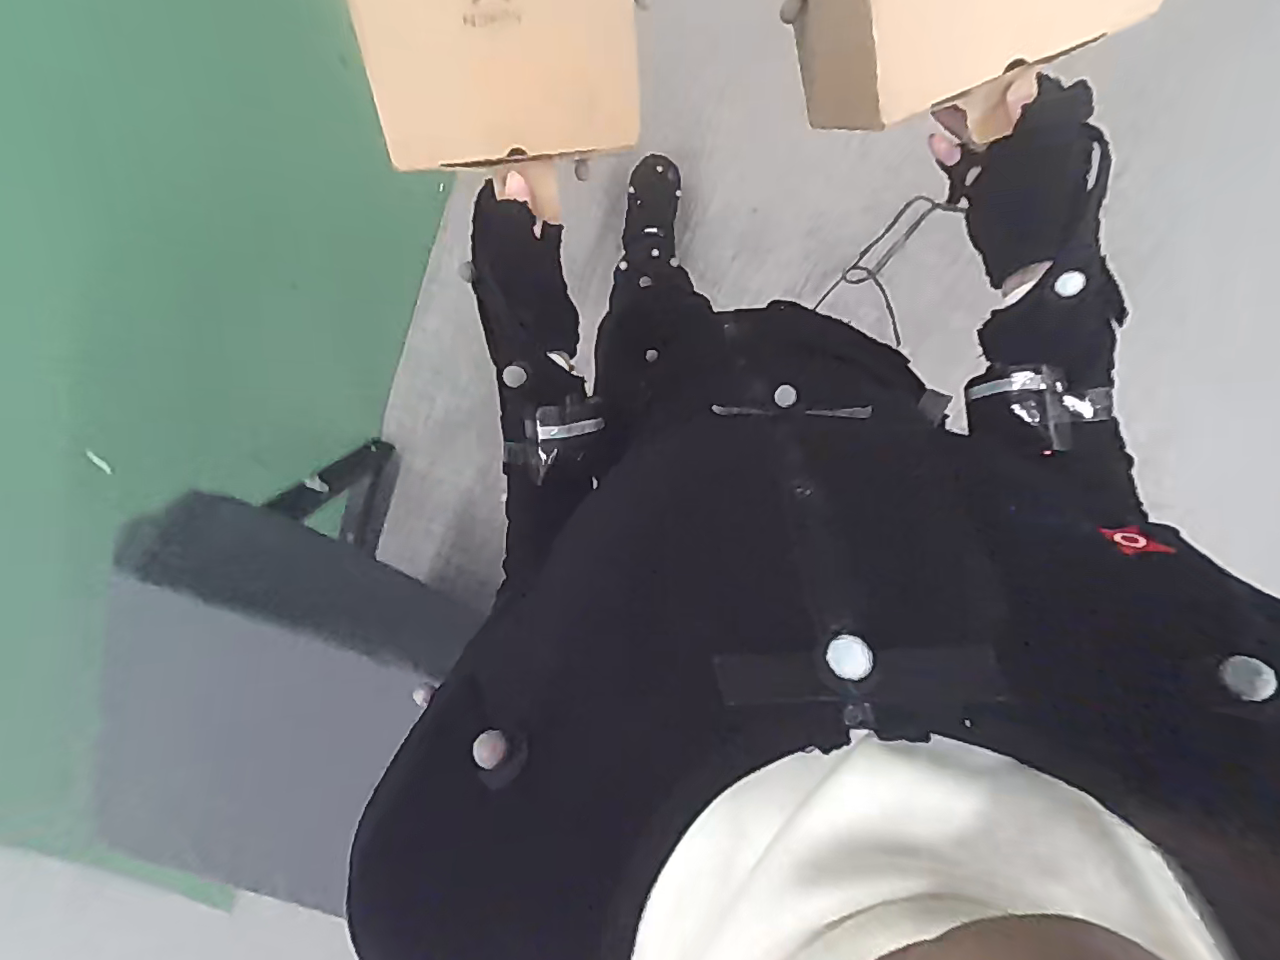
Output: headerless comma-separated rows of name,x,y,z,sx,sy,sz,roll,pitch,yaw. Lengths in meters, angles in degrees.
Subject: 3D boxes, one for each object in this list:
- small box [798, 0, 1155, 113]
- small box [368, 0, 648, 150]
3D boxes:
small box,0.207,-0.376,0.361,0.168,0.176,0.179,-17,123,9
small box,-0.080,-0.338,0.378,0.168,0.176,0.179,-5,119,2
